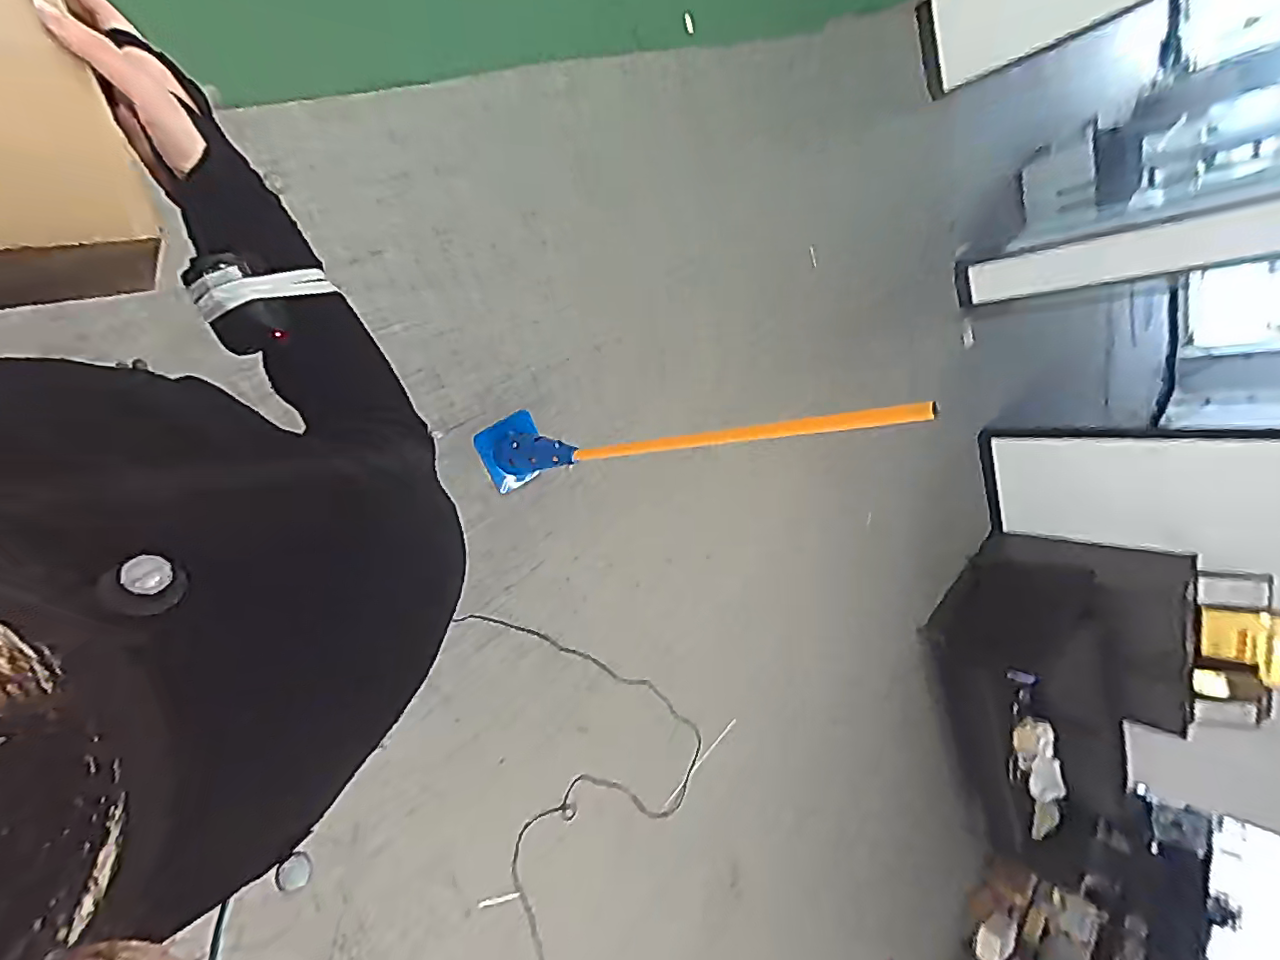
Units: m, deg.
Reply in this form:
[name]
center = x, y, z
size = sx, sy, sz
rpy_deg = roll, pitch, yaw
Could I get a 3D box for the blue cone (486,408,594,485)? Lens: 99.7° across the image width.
[blue cone]
center = -0.253, -0.095, 1.508
size = 0.193, 0.380, 0.192
rpy_deg = -40, 117, -31
